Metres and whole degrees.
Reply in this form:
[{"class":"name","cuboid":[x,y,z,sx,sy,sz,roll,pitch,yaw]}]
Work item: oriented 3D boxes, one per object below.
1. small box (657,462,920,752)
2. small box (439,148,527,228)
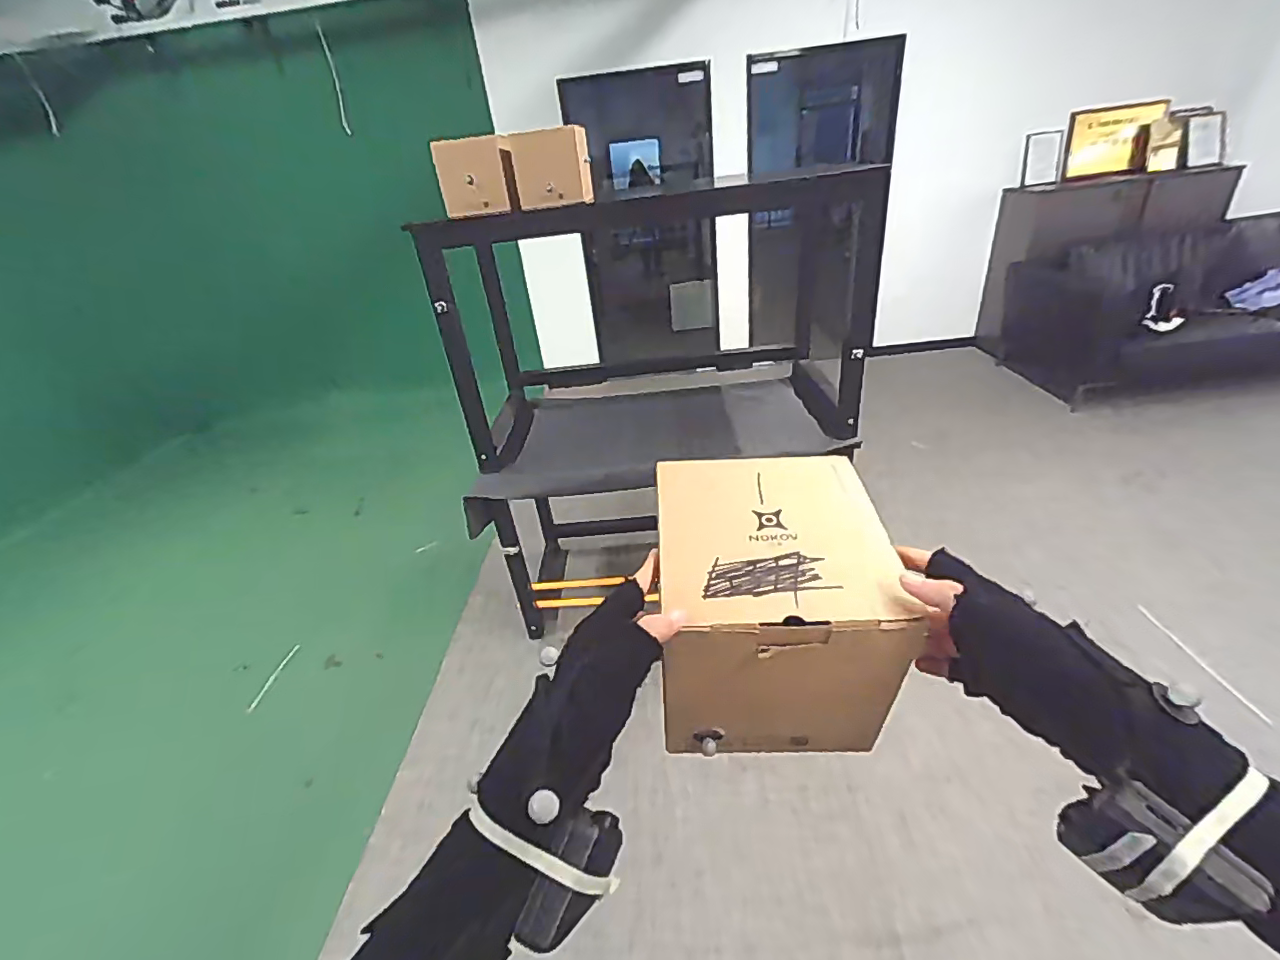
[{"class":"small box","cuboid":[0.100,0.104,0.449,0.168,0.176,0.179,-1,37,3]},{"class":"small box","cuboid":[-0.408,-0.774,1.439,0.168,0.176,0.179,-4,29,3]}]
